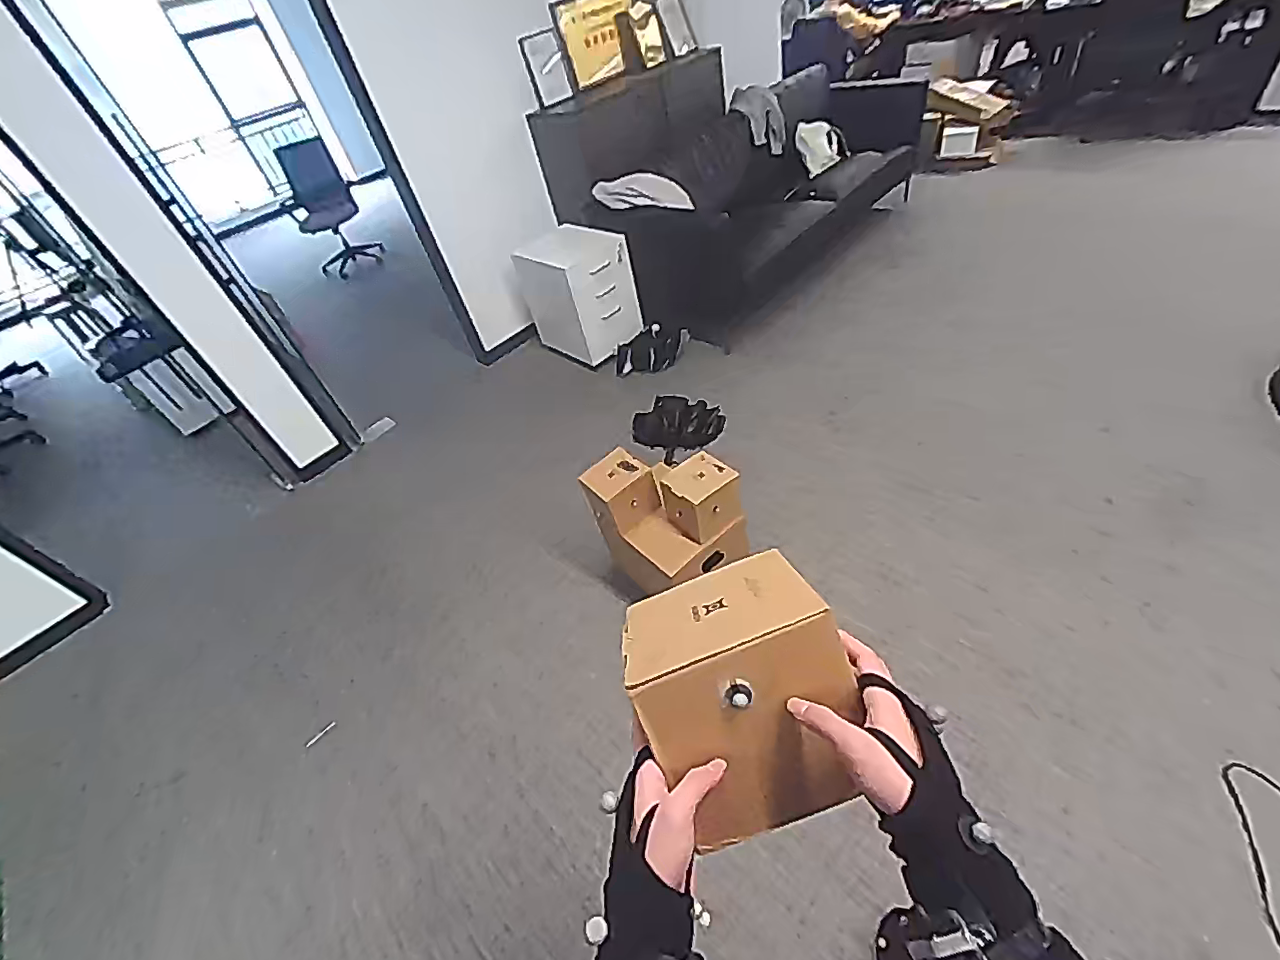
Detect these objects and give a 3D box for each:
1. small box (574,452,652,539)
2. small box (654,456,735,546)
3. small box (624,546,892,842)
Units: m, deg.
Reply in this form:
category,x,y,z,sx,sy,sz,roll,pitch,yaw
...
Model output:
category,x,y,z,sx,sy,sz,roll,pitch,yaw
small box,-0.078,0.049,1.706,0.179,0.176,0.168,-36,46,-18
small box,0.170,0.065,1.619,0.179,0.176,0.168,-33,44,-22
small box,0.096,0.185,0.499,0.179,0.176,0.168,-21,8,1
